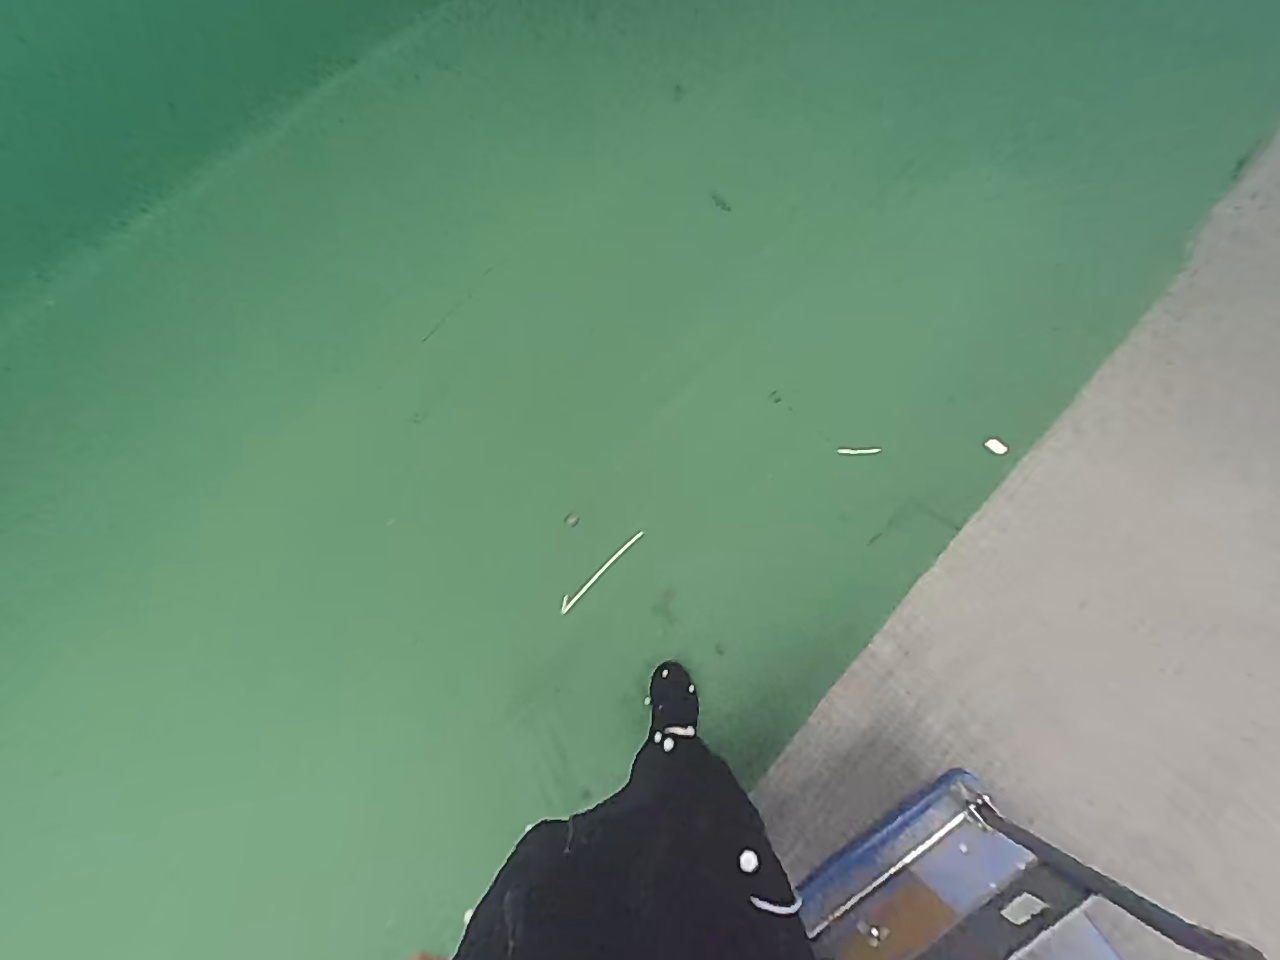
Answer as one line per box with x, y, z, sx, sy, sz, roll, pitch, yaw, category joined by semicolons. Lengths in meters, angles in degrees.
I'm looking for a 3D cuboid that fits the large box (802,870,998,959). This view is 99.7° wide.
0.516;0.971;0.879;0.320;0.320;0.408;-35;72;-5;large box
